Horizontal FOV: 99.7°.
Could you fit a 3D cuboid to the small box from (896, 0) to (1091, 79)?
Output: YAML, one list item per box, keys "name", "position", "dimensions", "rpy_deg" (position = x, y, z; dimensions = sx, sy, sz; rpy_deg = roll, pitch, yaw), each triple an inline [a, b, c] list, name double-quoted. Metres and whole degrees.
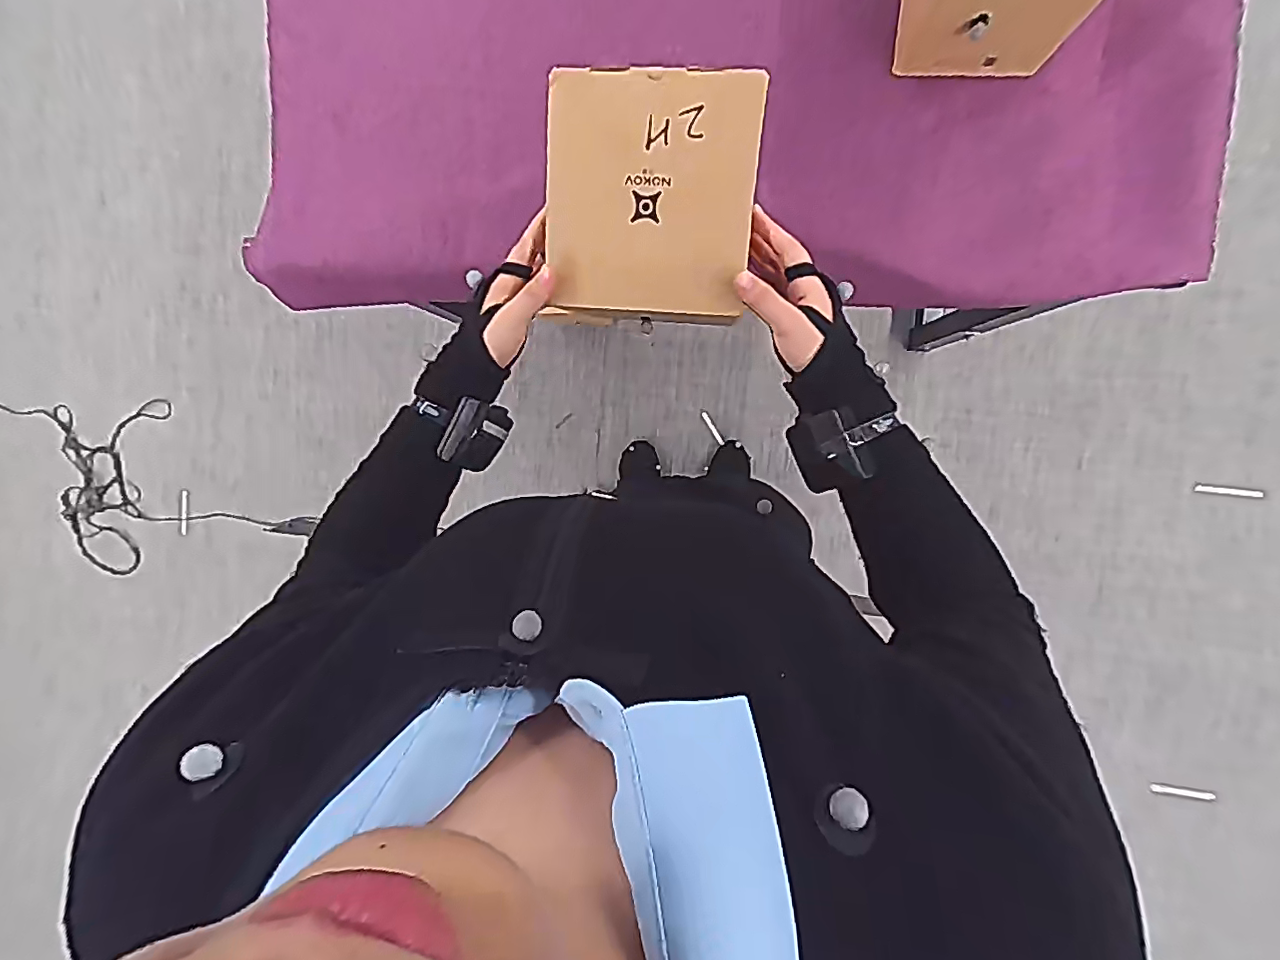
- name: "small box"
  position: [0.395, -0.574, 0.586]
  dimensions: [0.168, 0.176, 0.179]
  rpy_deg: [5, 95, 6]
